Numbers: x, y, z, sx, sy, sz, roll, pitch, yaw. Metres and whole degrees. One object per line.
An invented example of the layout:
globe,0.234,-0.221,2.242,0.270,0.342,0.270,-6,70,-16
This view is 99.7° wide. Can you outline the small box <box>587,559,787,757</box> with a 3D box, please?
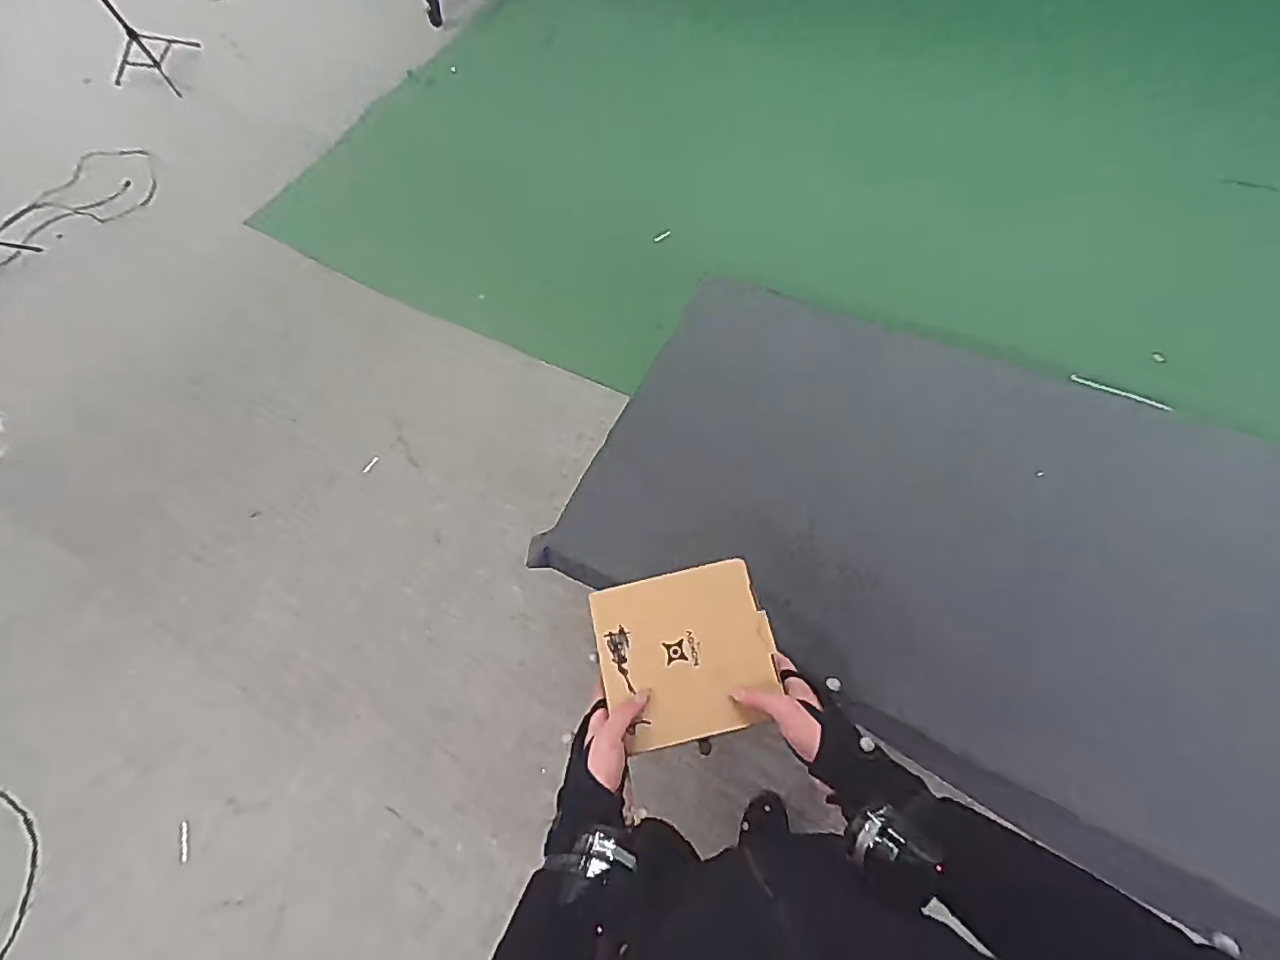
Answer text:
small box,0.047,0.206,0.619,0.179,0.176,0.168,-13,64,0
